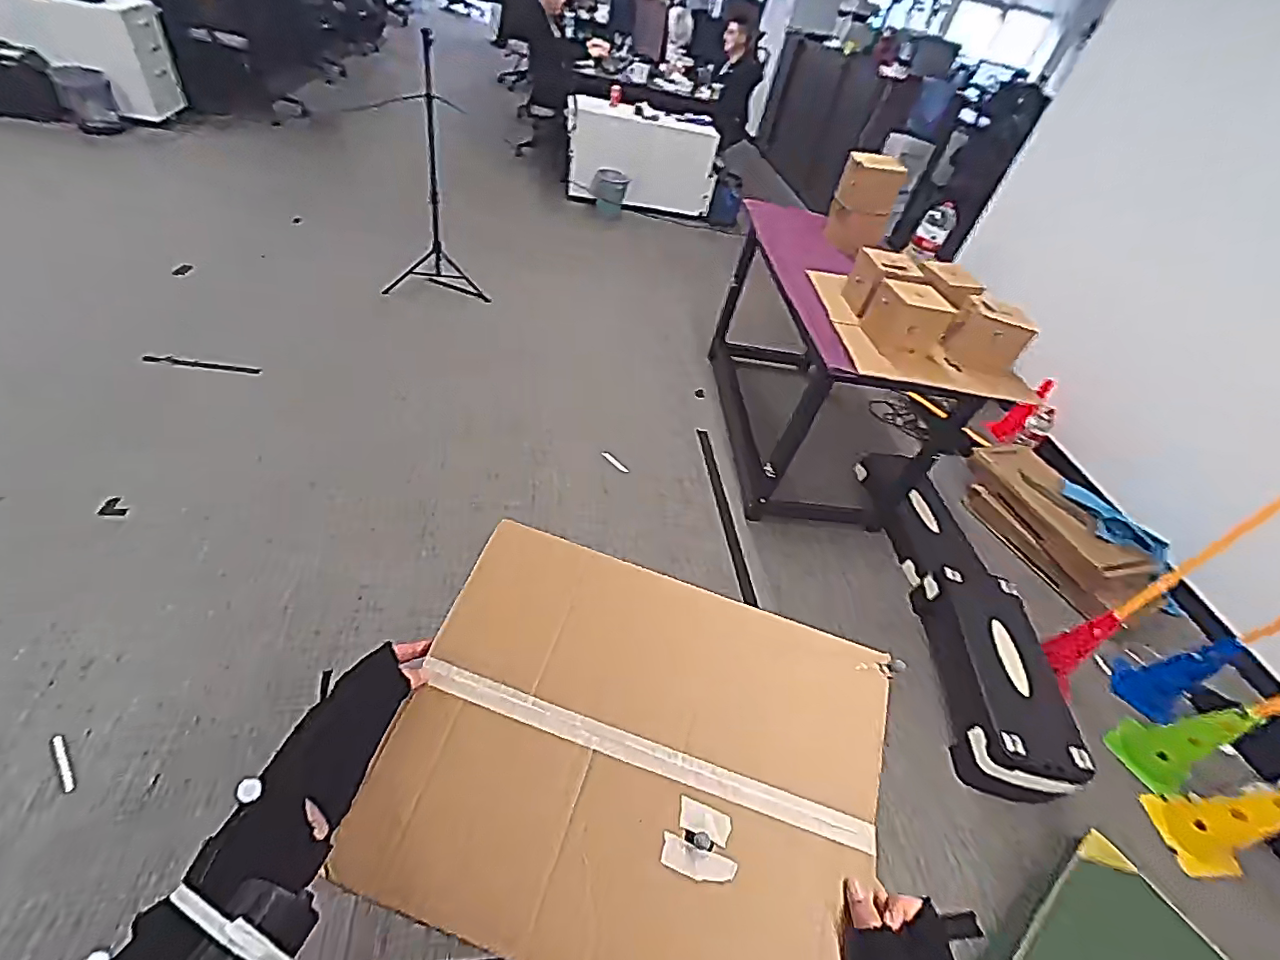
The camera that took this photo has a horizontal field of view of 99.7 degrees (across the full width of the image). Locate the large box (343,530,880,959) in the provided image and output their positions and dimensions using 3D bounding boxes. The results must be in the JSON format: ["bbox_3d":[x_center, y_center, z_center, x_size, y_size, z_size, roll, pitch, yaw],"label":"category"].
[{"bbox_3d":[-0.012,0.308,0.599,0.408,0.320,0.320,20,60,5],"label":"large box"}]
